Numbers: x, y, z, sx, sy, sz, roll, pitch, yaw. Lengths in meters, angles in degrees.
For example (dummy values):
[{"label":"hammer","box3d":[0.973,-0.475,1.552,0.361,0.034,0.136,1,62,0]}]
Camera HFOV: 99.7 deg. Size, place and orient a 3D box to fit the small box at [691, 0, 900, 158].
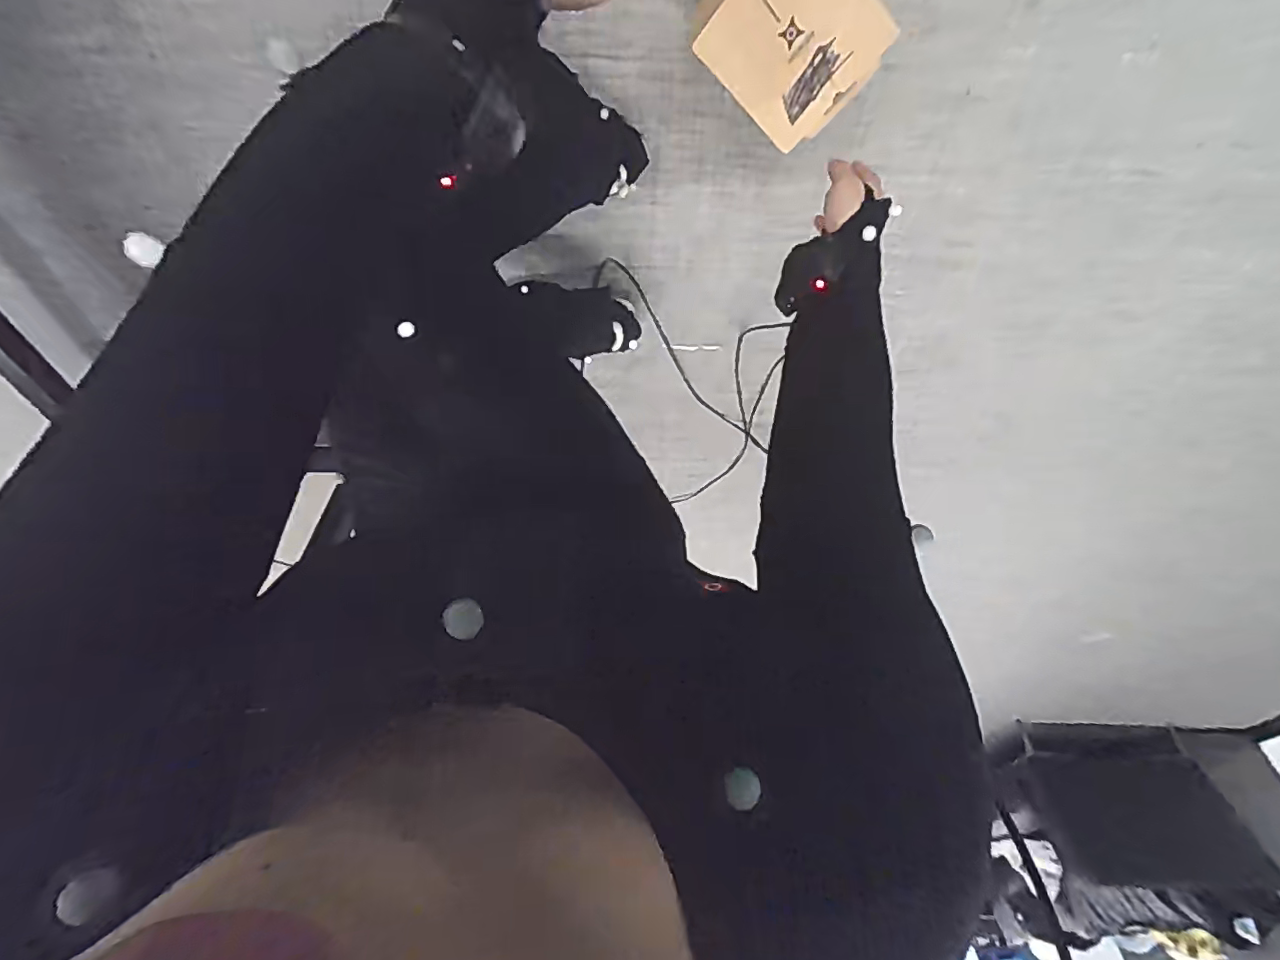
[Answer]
[{"label":"small box","box3d":[0.180,-0.553,0.665,0.179,0.176,0.168,30,131,-28]}]
